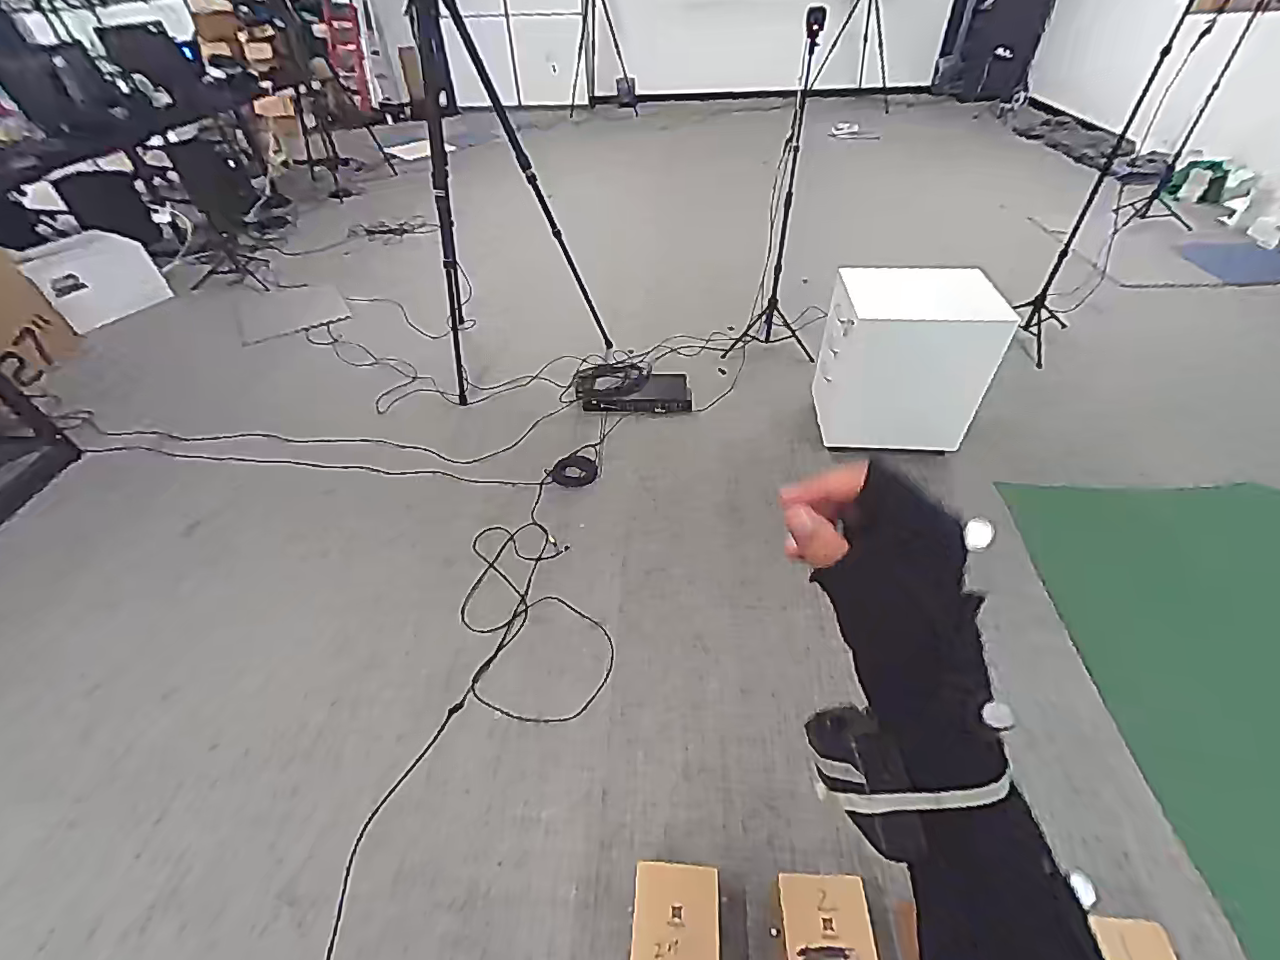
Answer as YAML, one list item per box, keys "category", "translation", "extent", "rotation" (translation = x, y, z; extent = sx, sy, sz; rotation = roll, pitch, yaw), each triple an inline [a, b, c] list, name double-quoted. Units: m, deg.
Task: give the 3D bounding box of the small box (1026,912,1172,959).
- category: "small box"
  translation: [0.879, 0.944, 1.017]
  extent: [0.168, 0.176, 0.179]
  rotation: [3, 44, 4]

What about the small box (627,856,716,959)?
- category: "small box"
  translation: [0.066, 0.891, 1.093]
  extent: [0.168, 0.176, 0.179]
  rotation: [2, 45, 5]

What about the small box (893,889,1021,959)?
- category: "small box"
  translation: [0.612, 0.923, 1.046]
  extent: [0.168, 0.176, 0.179]
  rotation: [3, 46, 5]
